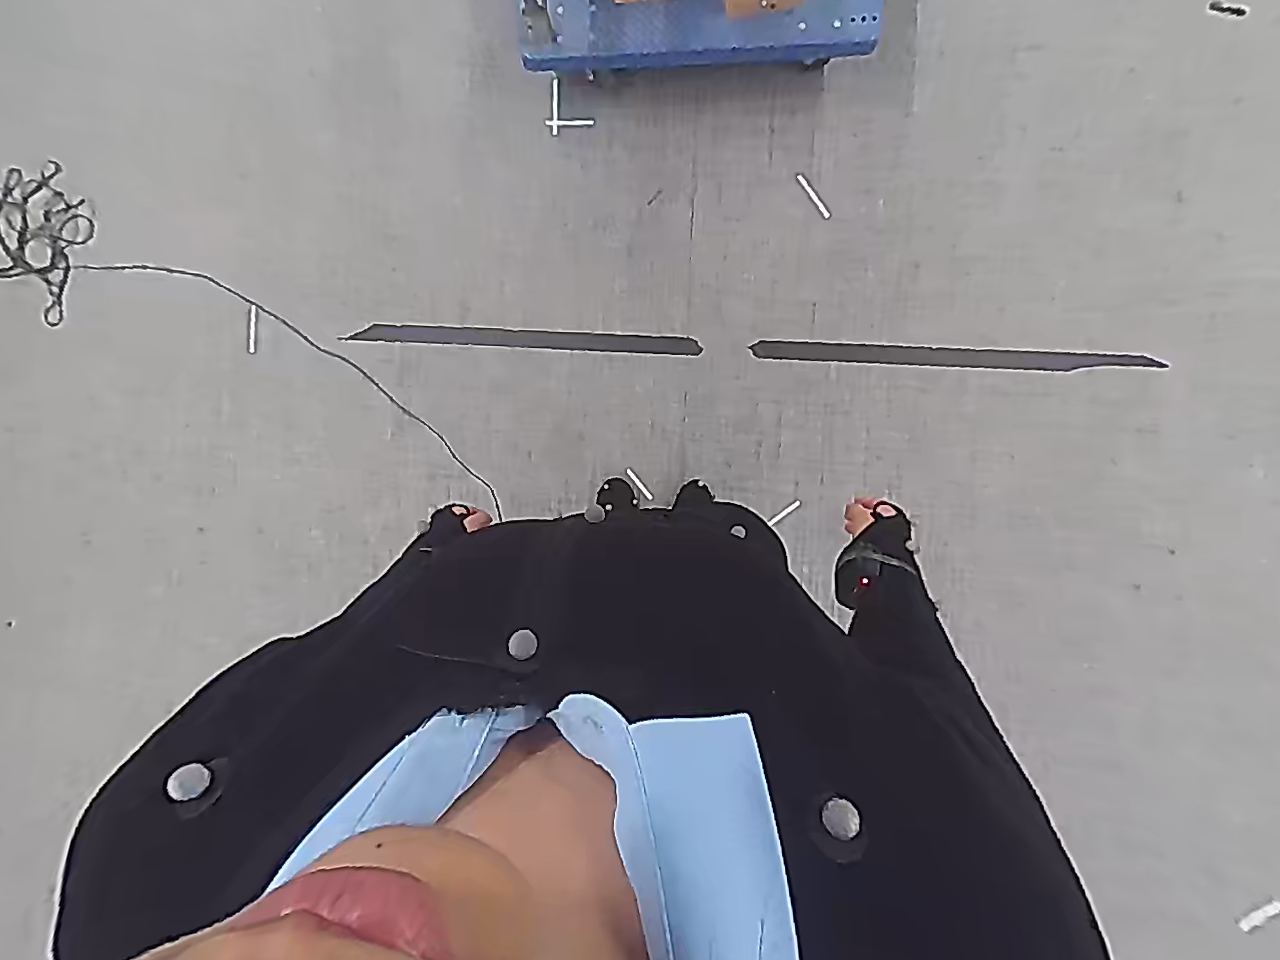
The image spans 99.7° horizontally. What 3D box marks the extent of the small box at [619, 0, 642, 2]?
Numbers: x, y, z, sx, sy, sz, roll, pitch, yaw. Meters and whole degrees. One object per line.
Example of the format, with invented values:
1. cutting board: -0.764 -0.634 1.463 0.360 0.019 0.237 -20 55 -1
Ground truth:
1. small box: 0.009 -1.233 1.210 0.168 0.176 0.179 -2 91 4

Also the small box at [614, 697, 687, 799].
1. small box: 0.032 0.698 1.420 0.168 0.176 0.179 -9 90 3
